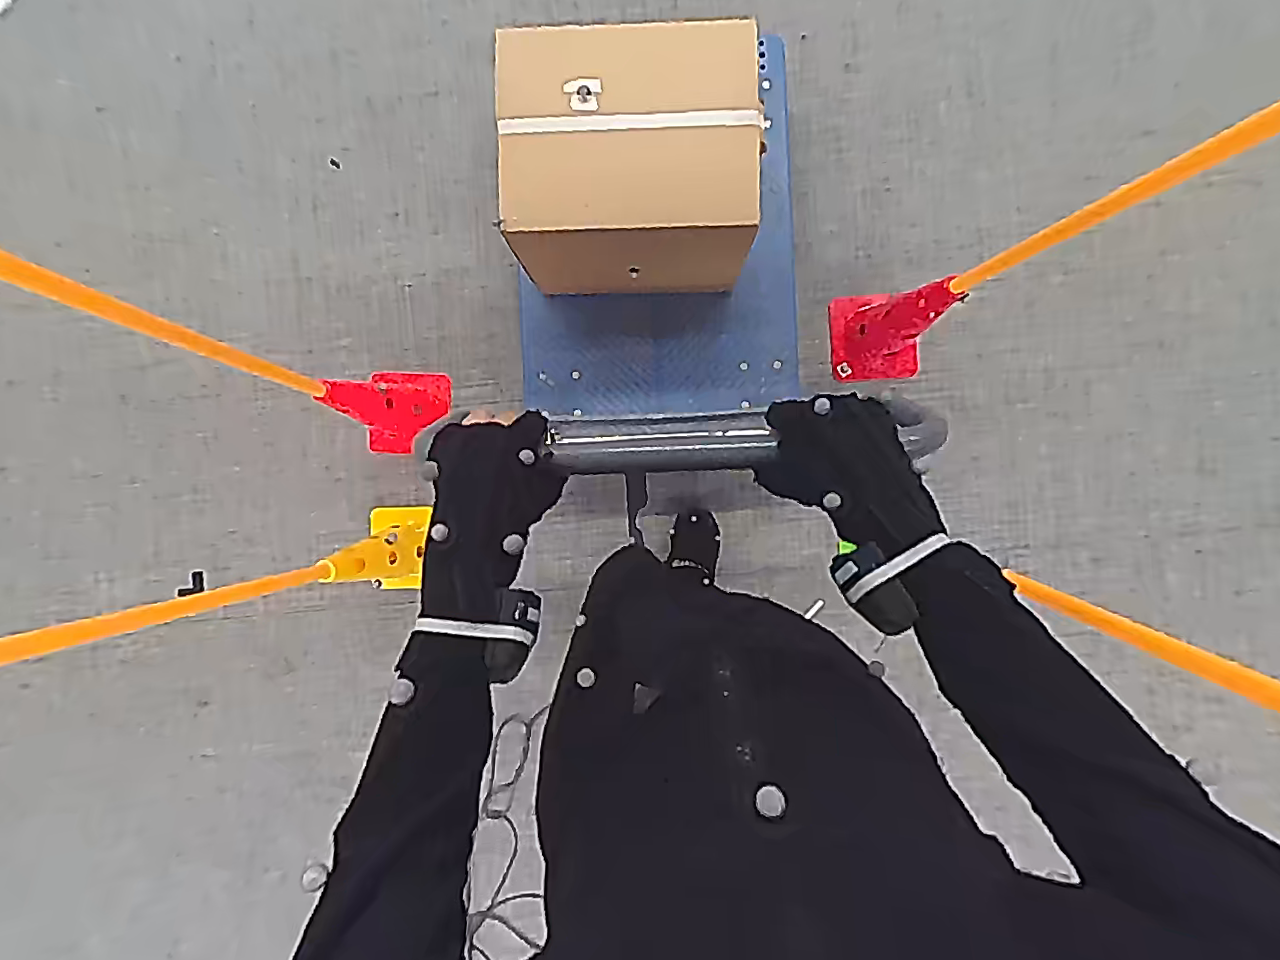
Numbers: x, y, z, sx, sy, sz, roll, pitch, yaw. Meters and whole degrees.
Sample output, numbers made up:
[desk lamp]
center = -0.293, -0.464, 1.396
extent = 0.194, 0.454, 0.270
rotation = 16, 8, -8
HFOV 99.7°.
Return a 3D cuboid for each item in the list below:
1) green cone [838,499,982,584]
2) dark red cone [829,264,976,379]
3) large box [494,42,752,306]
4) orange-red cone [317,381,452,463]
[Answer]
[green cone]
center = 0.570, 0.146, 1.112
extent = 0.202, 0.368, 0.200
rotation = -1, 90, 1
[dark red cone]
center = 0.546, -0.339, 1.099
extent = 0.201, 0.394, 0.202
rotation = -5, 90, 0
[large box]
center = -0.020, -0.523, 0.998
extent = 0.408, 0.320, 0.320
rotation = -1, 90, 3
[orange-red cone]
center = -0.571, -0.149, 1.163
extent = 0.198, 0.360, 0.199
rotation = 2, 88, 1
